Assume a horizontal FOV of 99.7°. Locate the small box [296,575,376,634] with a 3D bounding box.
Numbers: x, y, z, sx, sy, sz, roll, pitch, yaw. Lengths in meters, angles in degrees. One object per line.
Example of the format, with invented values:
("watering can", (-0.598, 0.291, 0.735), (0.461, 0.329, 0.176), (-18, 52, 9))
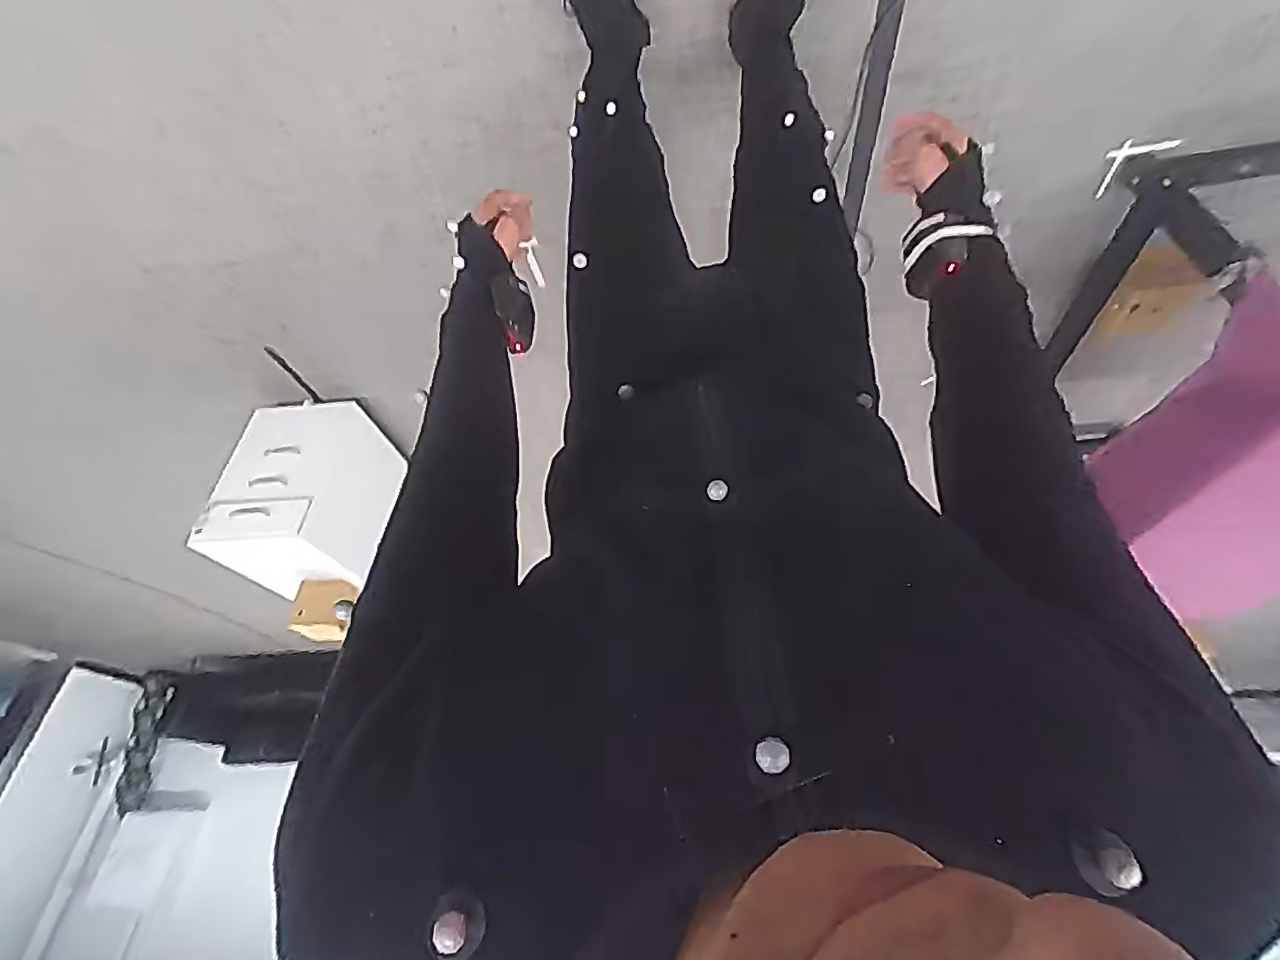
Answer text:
("small box", (-1.111, 0.459, 1.992), (0.179, 0.176, 0.168), (-4, 148, 9))
